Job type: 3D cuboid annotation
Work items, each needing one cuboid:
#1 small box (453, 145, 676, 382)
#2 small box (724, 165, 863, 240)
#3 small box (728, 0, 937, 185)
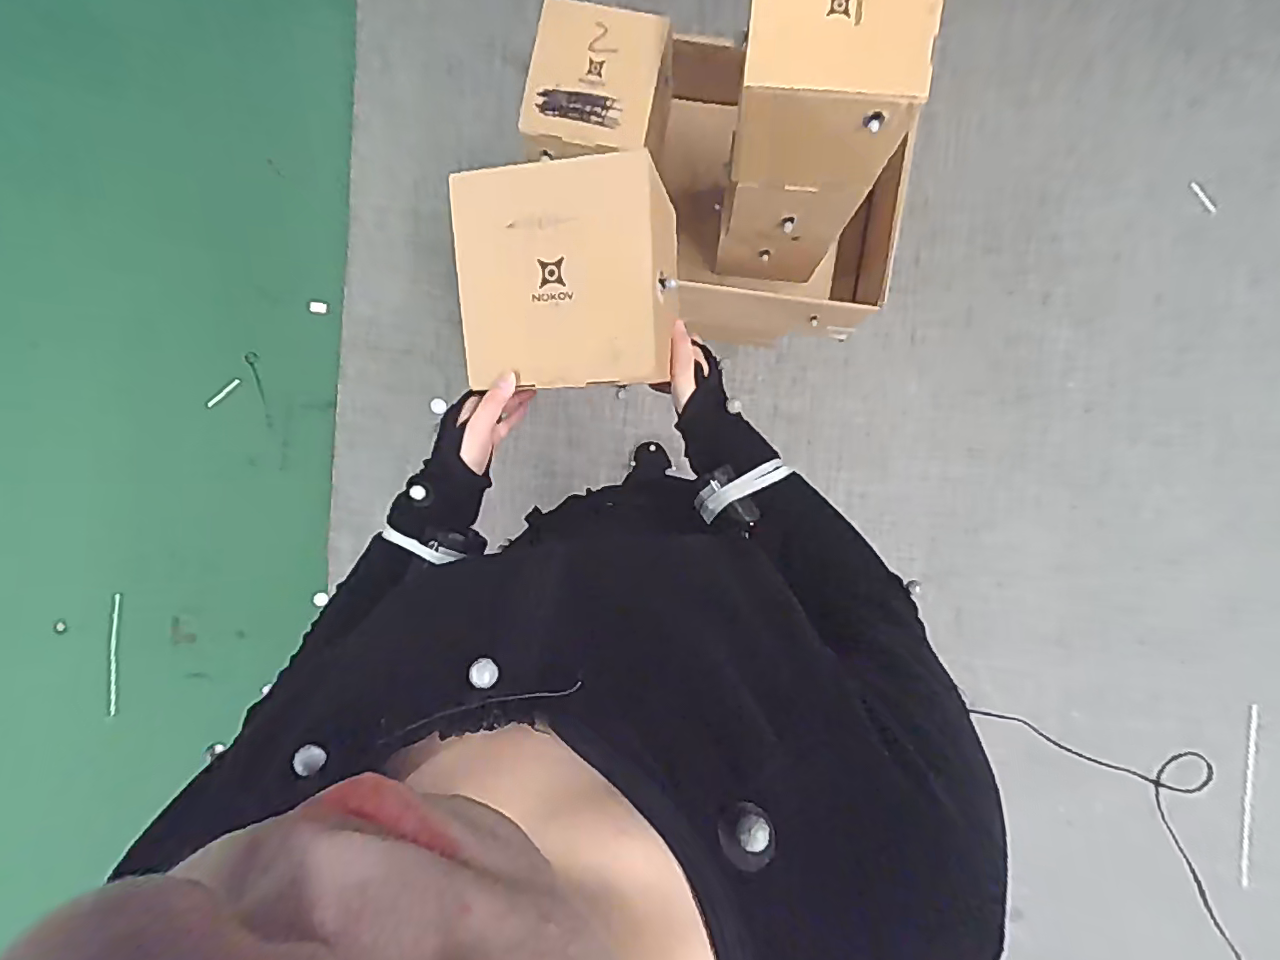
[{"bbox_3d":[-0.055,-0.186,0.515,0.168,0.176,0.179,1,101,10],"label":"small box"},{"bbox_3d":[0.211,-0.455,0.753,0.168,0.176,0.179,6,93,3],"label":"small box"},{"bbox_3d":[0.196,-0.449,0.590,0.179,0.176,0.168,7,92,3],"label":"small box"}]
